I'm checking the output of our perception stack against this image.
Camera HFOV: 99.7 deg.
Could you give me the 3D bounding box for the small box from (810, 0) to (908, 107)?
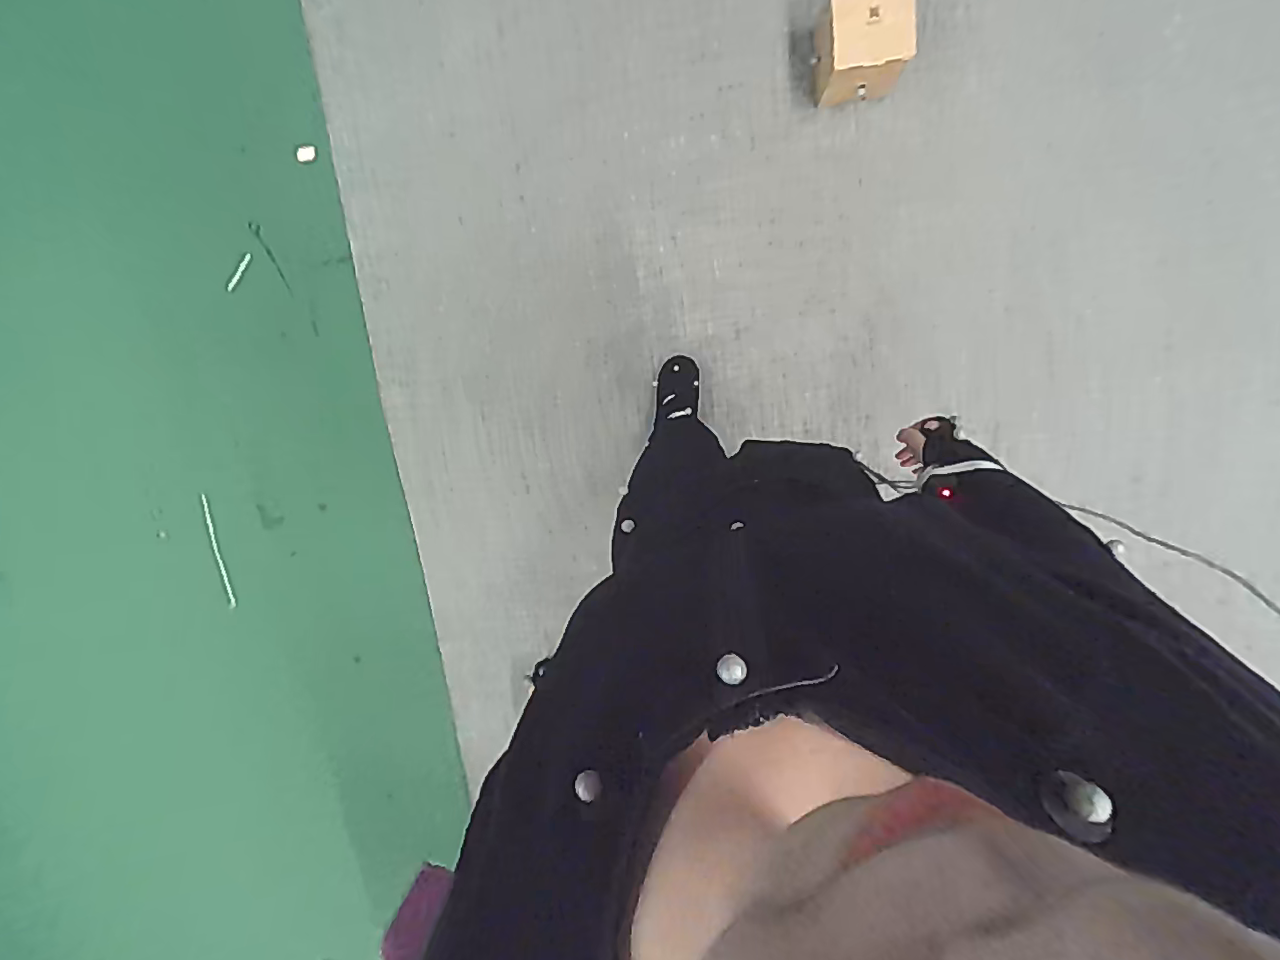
[{"bbox_3d":[0.477,-0.958,1.194,0.168,0.176,0.179,-4,100,6],"label":"small box"}]
